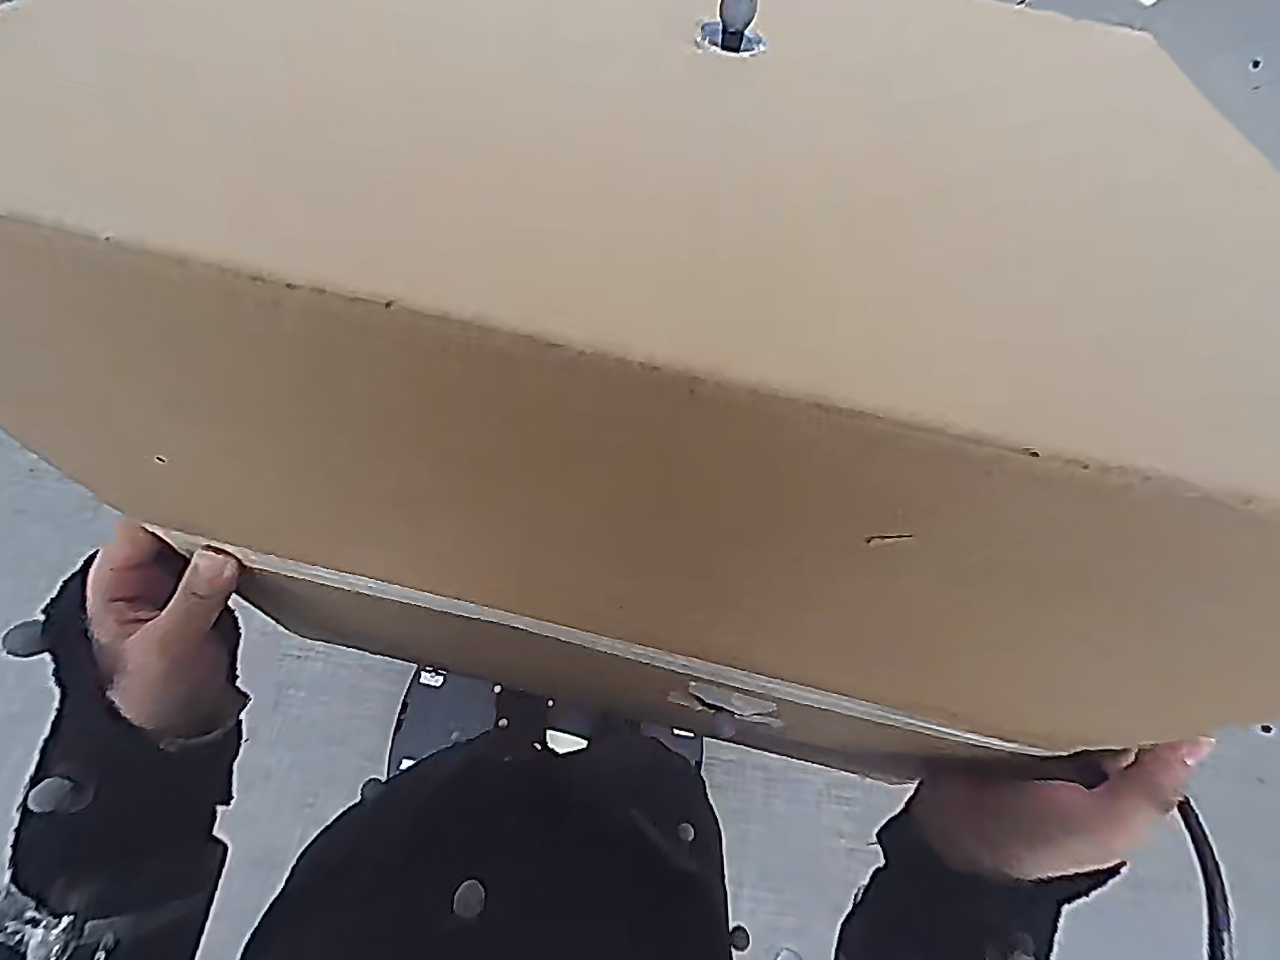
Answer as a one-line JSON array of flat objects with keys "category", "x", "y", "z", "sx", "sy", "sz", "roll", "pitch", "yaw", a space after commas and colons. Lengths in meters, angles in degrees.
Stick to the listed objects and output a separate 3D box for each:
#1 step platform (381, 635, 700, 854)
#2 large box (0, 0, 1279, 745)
[{"category": "step platform", "x": -0.210, "y": 0.584, "z": 1.231, "sx": 0.684, "sy": 0.204, "sz": 0.286, "roll": 17, "pitch": 74, "yaw": 2}, {"category": "large box", "x": 0.028, "y": -0.082, "z": 0.305, "sx": 0.408, "sy": 0.320, "sz": 0.320, "roll": 12, "pitch": 57, "yaw": 2}]
